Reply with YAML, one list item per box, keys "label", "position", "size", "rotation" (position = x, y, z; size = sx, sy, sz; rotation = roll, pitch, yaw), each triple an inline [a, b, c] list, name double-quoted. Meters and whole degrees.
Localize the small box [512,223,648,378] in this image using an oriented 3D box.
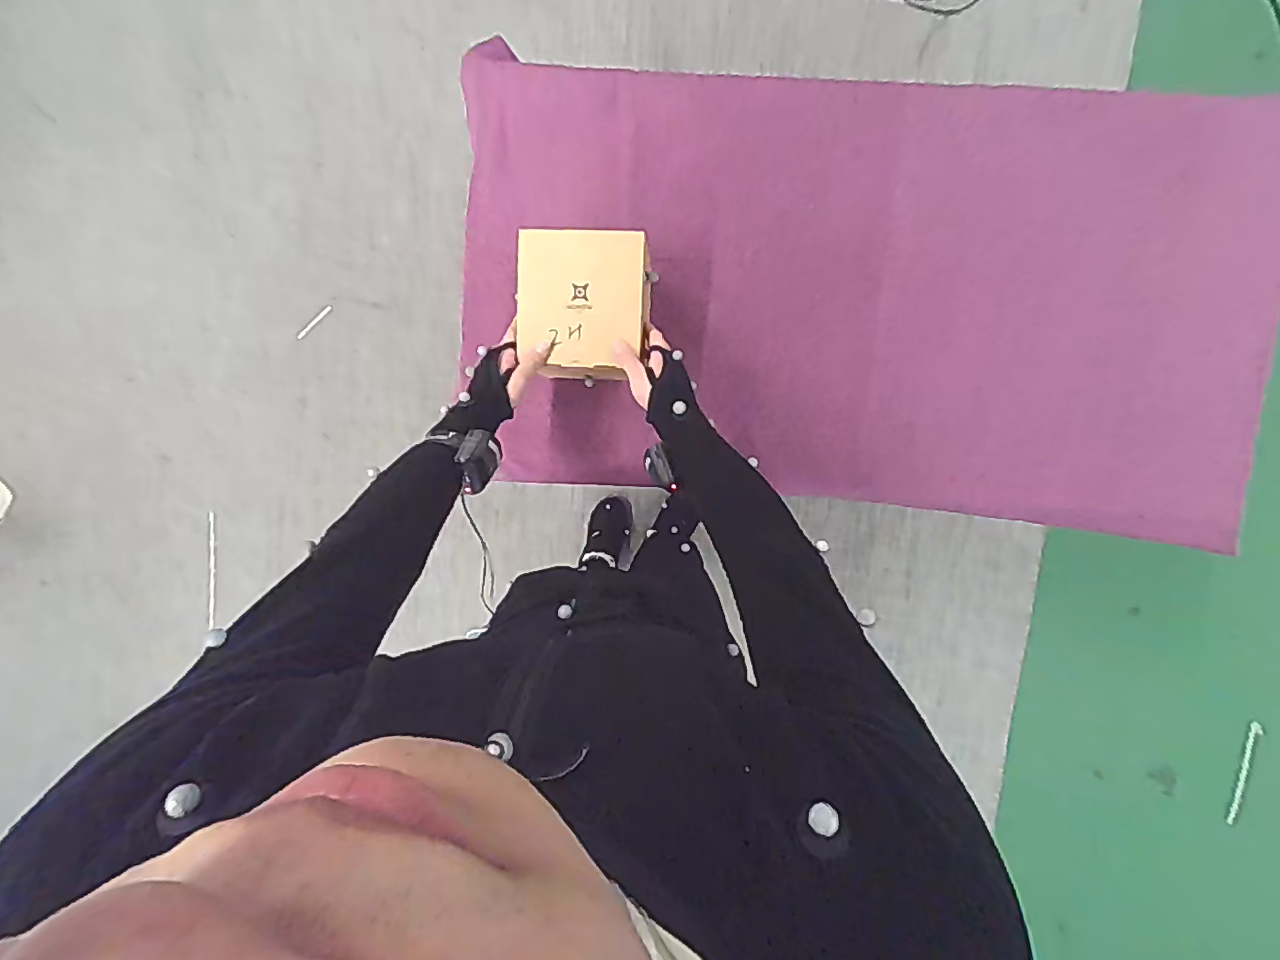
- label: "small box"
  position: [-0.077, -0.247, 0.777]
  size: [0.168, 0.176, 0.179]
  rotation: [3, 96, 4]
